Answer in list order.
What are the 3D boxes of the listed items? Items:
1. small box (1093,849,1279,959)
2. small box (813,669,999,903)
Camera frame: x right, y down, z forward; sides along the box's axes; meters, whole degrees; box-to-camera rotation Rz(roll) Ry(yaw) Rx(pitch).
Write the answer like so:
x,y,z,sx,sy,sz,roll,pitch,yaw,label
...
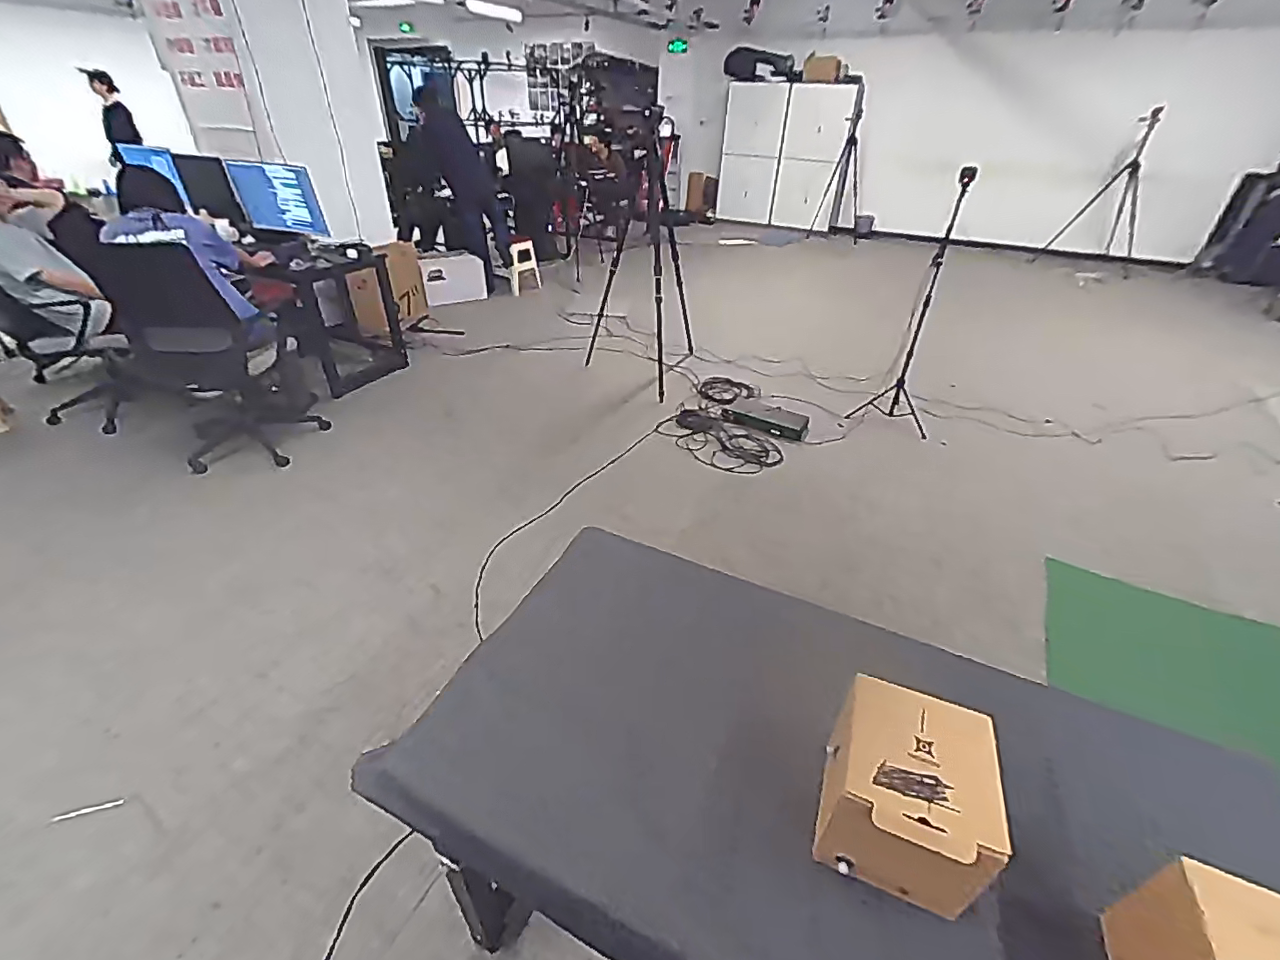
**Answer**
x,y,z,sx,sy,sz,roll,pitch,yaw,label
0.583,0.515,0.517,0.168,0.176,0.179,17,36,19,small box
0.326,0.385,0.688,0.168,0.176,0.179,15,36,18,small box
